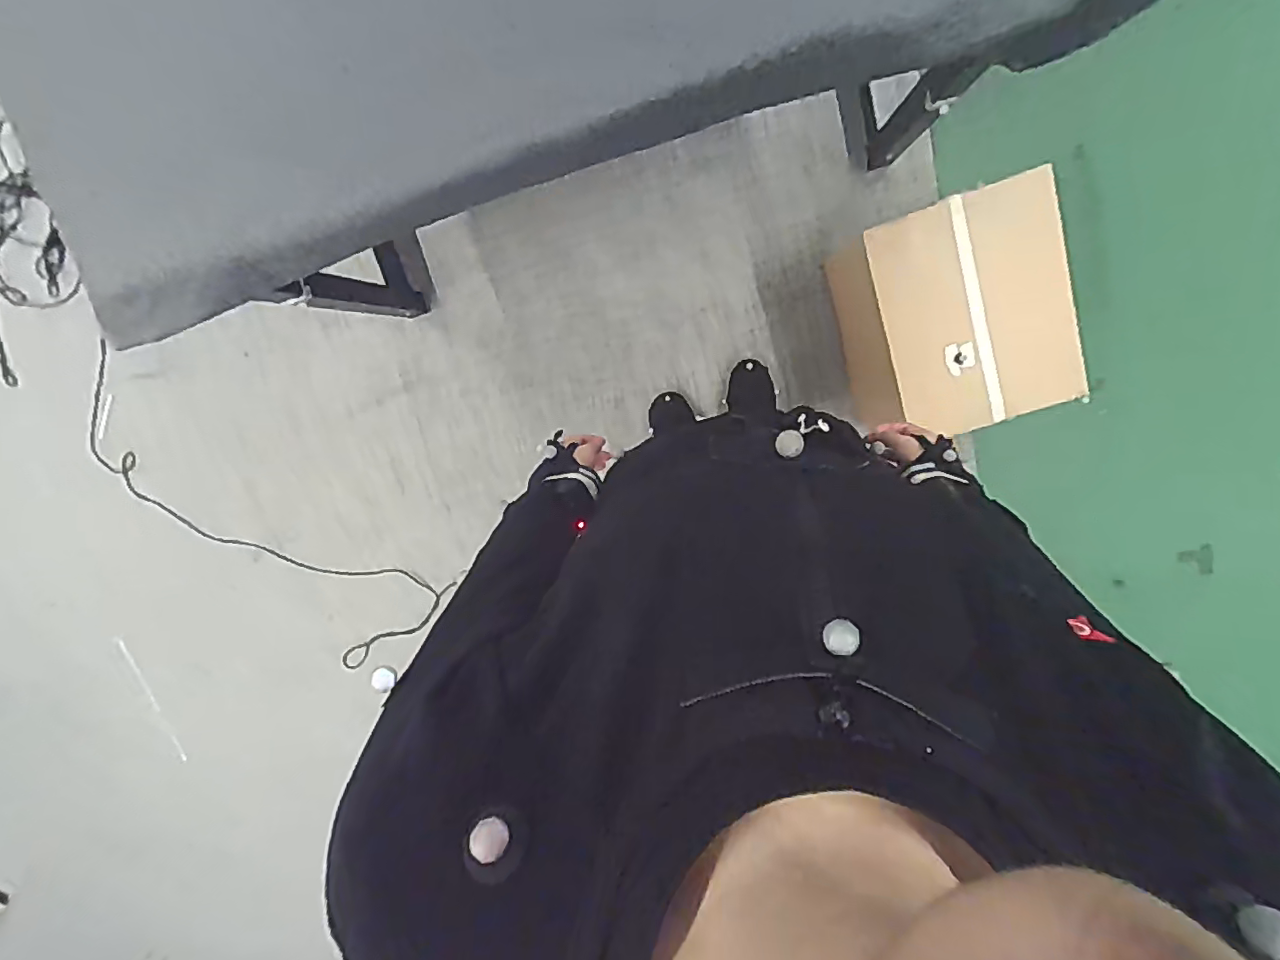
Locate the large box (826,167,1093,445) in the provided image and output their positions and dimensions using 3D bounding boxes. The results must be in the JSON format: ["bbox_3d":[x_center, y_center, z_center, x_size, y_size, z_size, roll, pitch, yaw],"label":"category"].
[{"bbox_3d":[0.613,-0.327,1.097,0.320,0.320,0.408,-18,101,10],"label":"large box"}]
